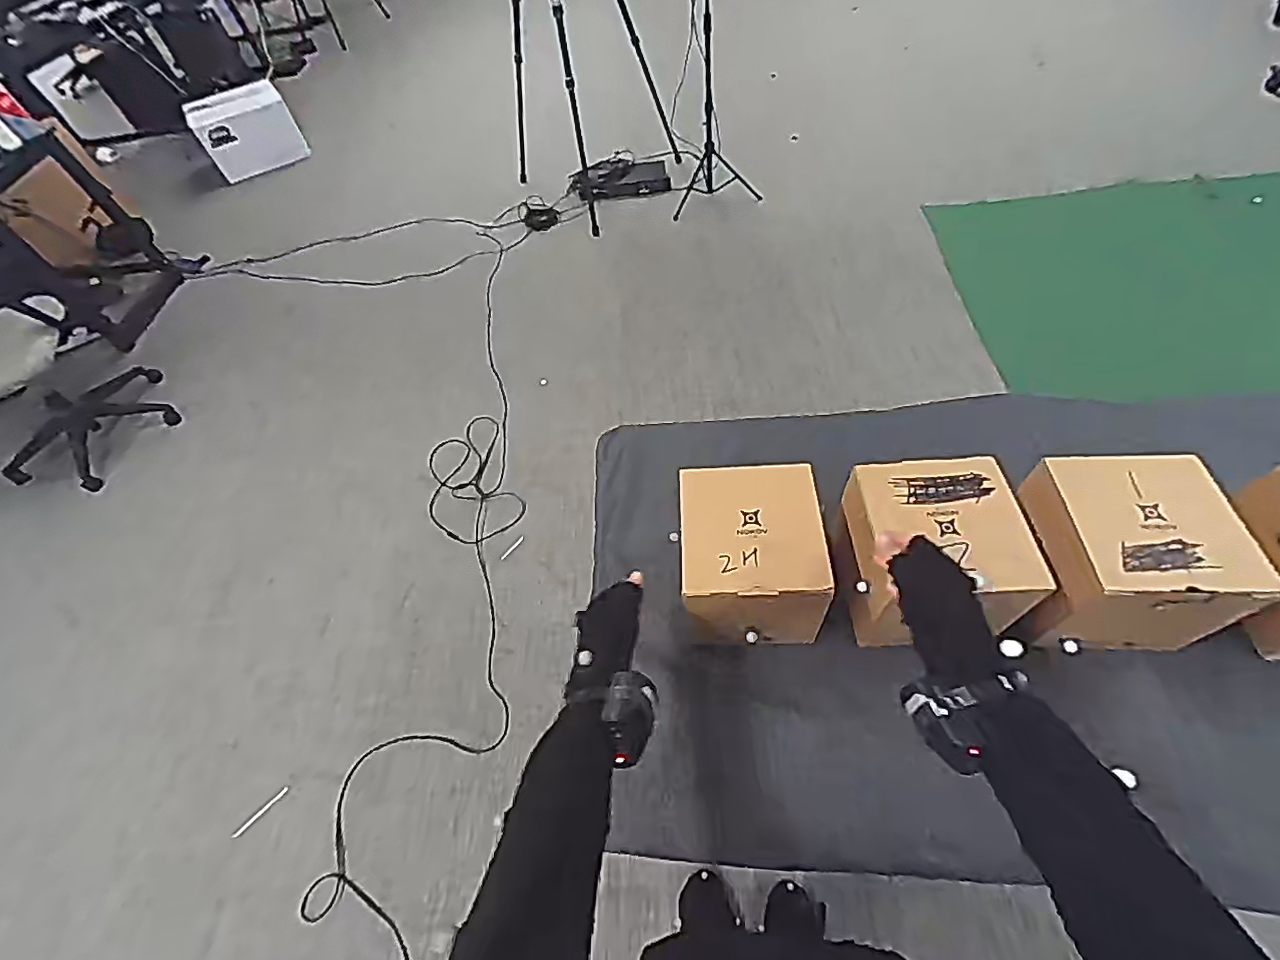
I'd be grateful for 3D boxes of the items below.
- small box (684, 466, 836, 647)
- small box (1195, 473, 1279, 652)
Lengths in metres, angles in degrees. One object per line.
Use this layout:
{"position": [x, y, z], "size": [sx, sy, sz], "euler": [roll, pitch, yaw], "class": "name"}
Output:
{"position": [0.141, 0.101, 0.698], "size": [0.168, 0.176, 0.179], "euler": [-3, 55, 7], "class": "small box"}
{"position": [0.806, 0.096, 0.604], "size": [0.168, 0.176, 0.179], "euler": [-2, 54, 7], "class": "small box"}
